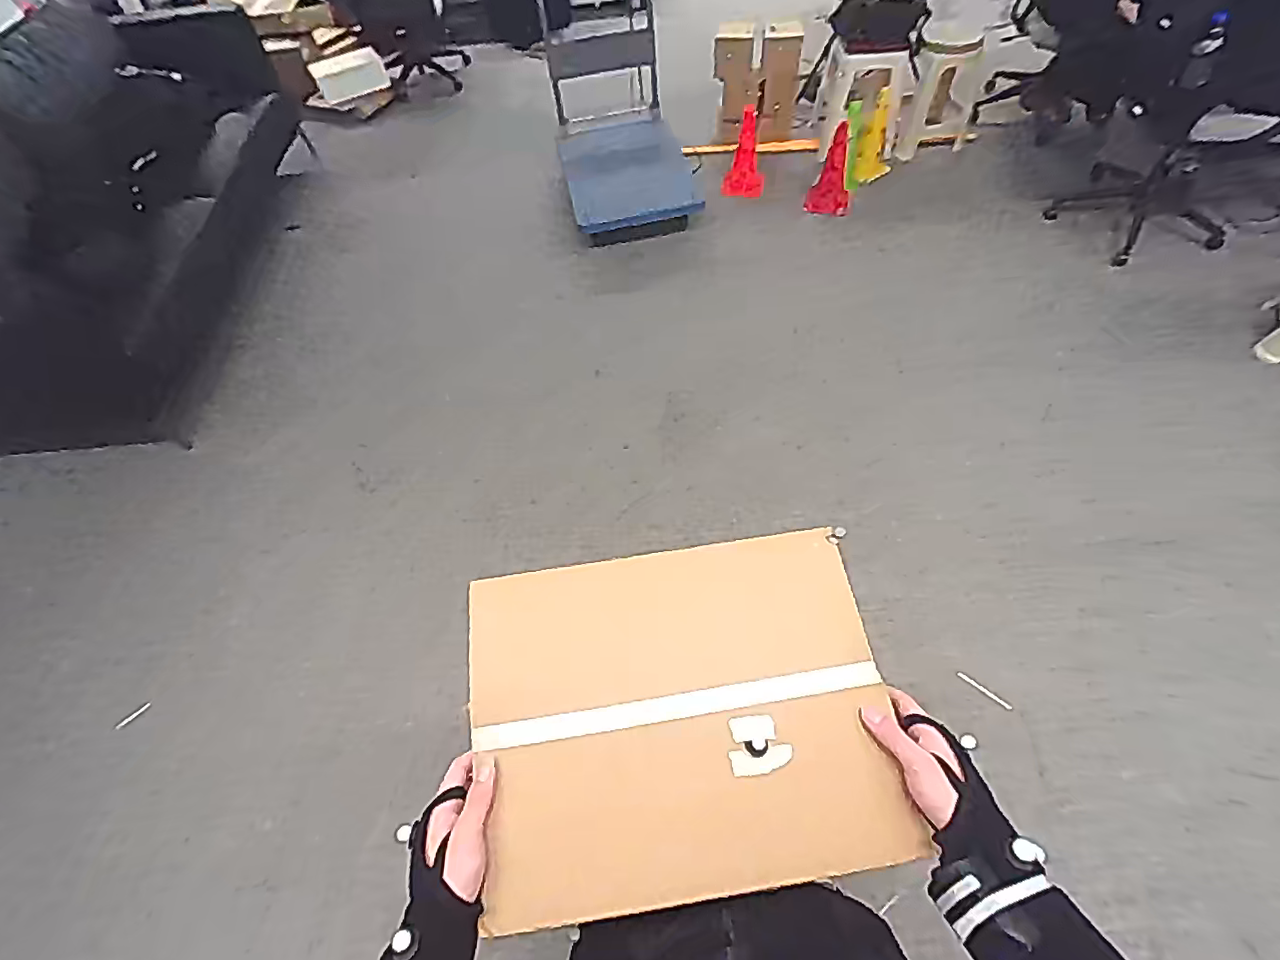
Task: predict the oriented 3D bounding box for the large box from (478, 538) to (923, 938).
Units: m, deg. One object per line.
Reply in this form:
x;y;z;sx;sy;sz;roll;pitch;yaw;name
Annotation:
0.042;0.297;0.677;0.408;0.320;0.320;-8;65;-3;large box
